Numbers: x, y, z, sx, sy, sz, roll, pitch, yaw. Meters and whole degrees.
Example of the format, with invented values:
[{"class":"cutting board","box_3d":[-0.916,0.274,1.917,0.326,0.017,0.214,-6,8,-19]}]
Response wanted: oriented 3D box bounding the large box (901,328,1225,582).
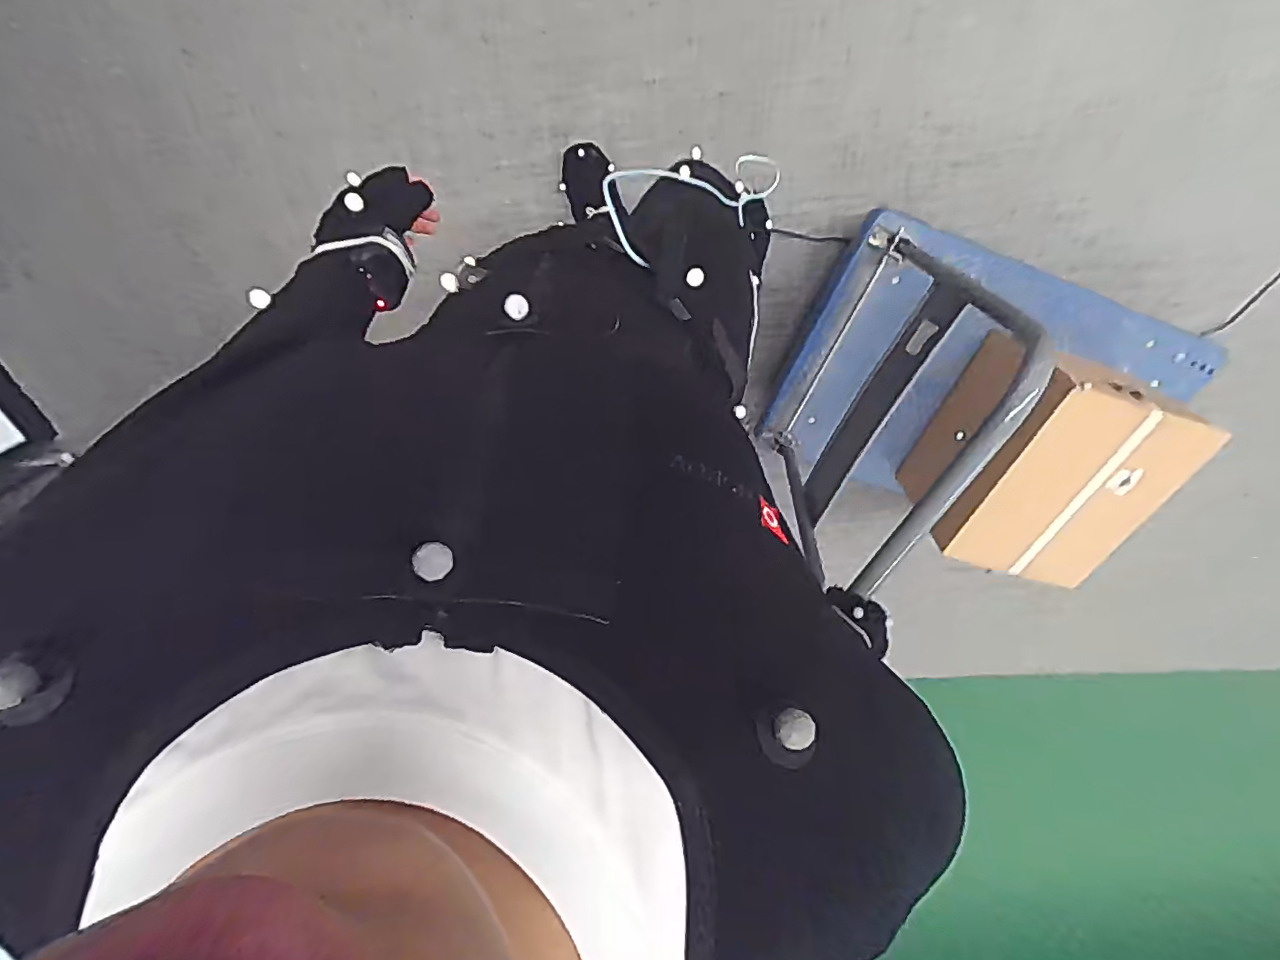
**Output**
[{"class":"large box","box_3d":[0.840,-0.056,1.161,0.320,0.320,0.408,14,123,-6]}]
